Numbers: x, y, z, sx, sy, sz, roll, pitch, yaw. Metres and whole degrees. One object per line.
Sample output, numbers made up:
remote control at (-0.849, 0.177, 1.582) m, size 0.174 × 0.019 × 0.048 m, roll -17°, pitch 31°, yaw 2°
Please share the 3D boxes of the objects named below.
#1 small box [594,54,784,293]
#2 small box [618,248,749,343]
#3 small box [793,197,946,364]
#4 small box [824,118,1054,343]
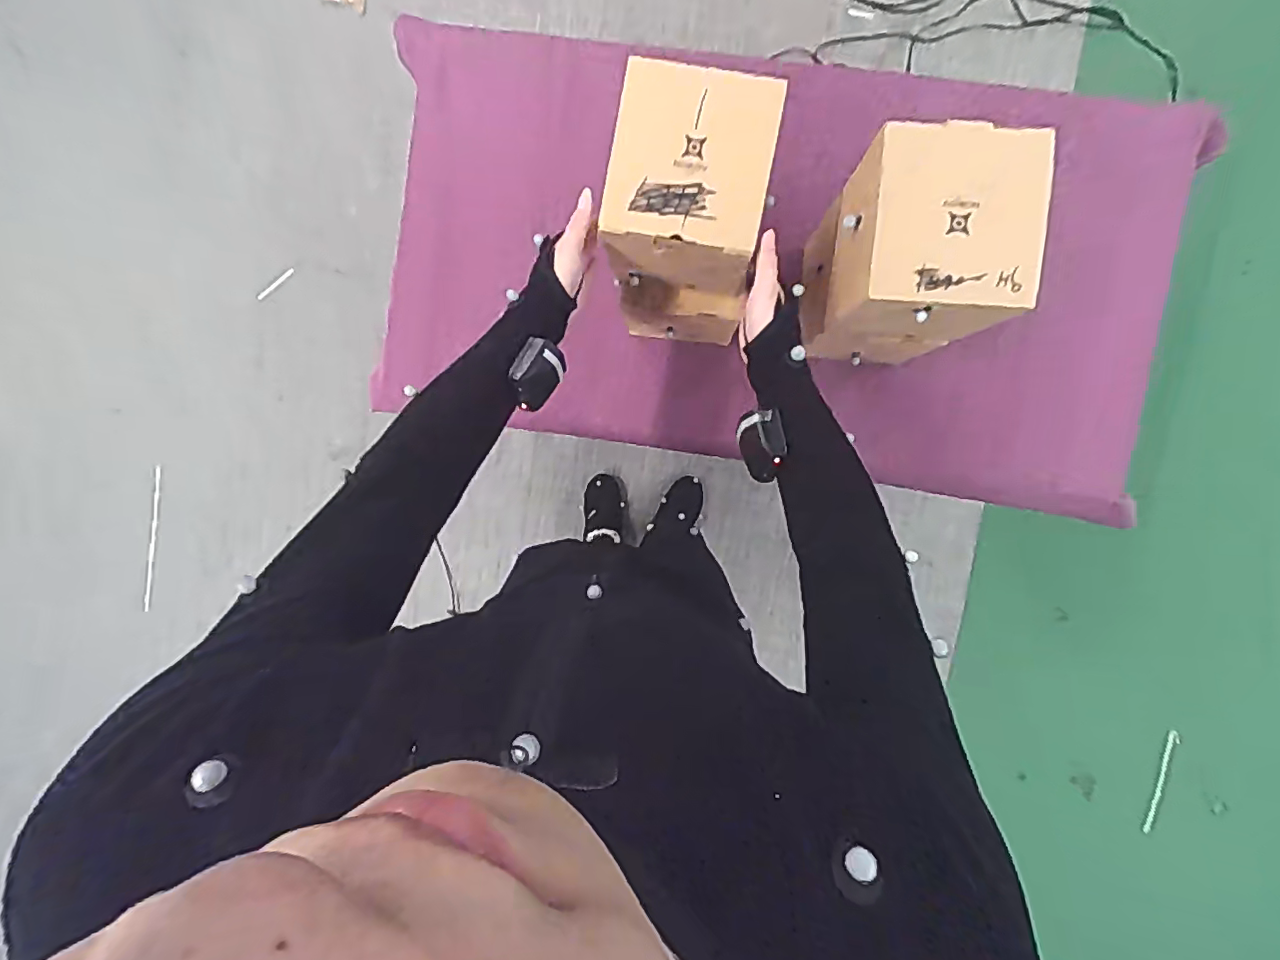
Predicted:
small box at (0.053, -0.333, 0.624) m, size 0.168 × 0.176 × 0.179 m, roll 11°, pitch 94°, yaw 2°
small box at (0.064, -0.311, 0.789) m, size 0.168 × 0.176 × 0.179 m, roll 7°, pitch 94°, yaw 2°
small box at (0.326, -0.274, 0.775) m, size 0.168 × 0.176 × 0.179 m, roll 6°, pitch 94°, yaw 3°
small box at (0.318, -0.265, 0.611) m, size 0.168 × 0.176 × 0.179 m, roll 5°, pitch 93°, yaw 3°
